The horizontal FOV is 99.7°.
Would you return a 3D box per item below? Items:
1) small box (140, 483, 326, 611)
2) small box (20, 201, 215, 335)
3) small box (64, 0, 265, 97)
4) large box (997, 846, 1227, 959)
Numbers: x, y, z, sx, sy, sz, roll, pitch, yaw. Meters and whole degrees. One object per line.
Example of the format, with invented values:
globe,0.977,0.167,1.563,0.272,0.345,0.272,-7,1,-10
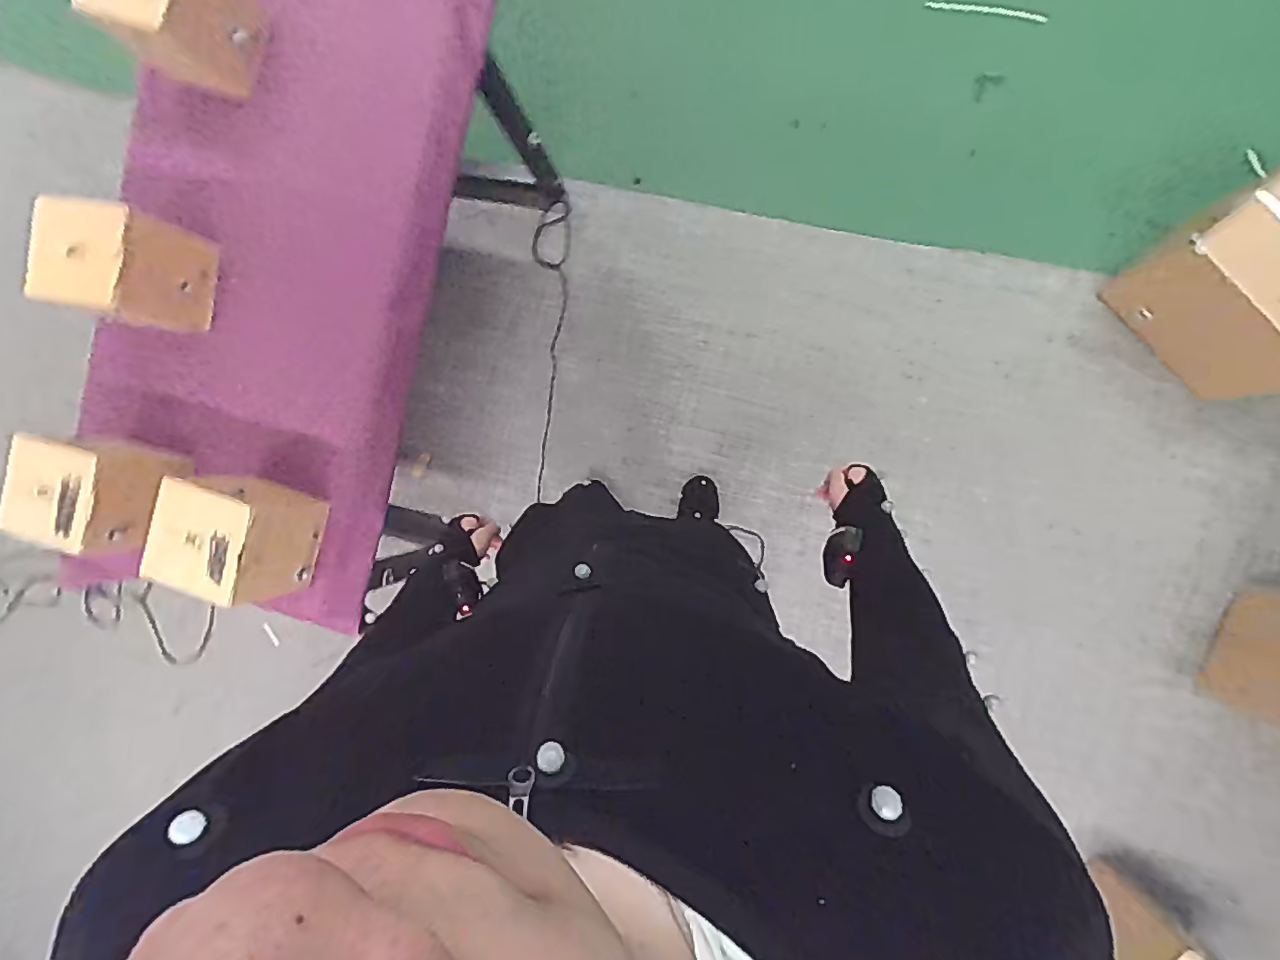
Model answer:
small box,-0.681,0.103,0.923,0.179,0.176,0.168,16,93,9
small box,-0.907,-0.363,0.951,0.179,0.176,0.168,9,92,7
small box,-0.801,-0.802,0.926,0.179,0.176,0.168,19,94,7
large box,1.218,1.260,1.355,0.320,0.320,0.408,38,95,5
